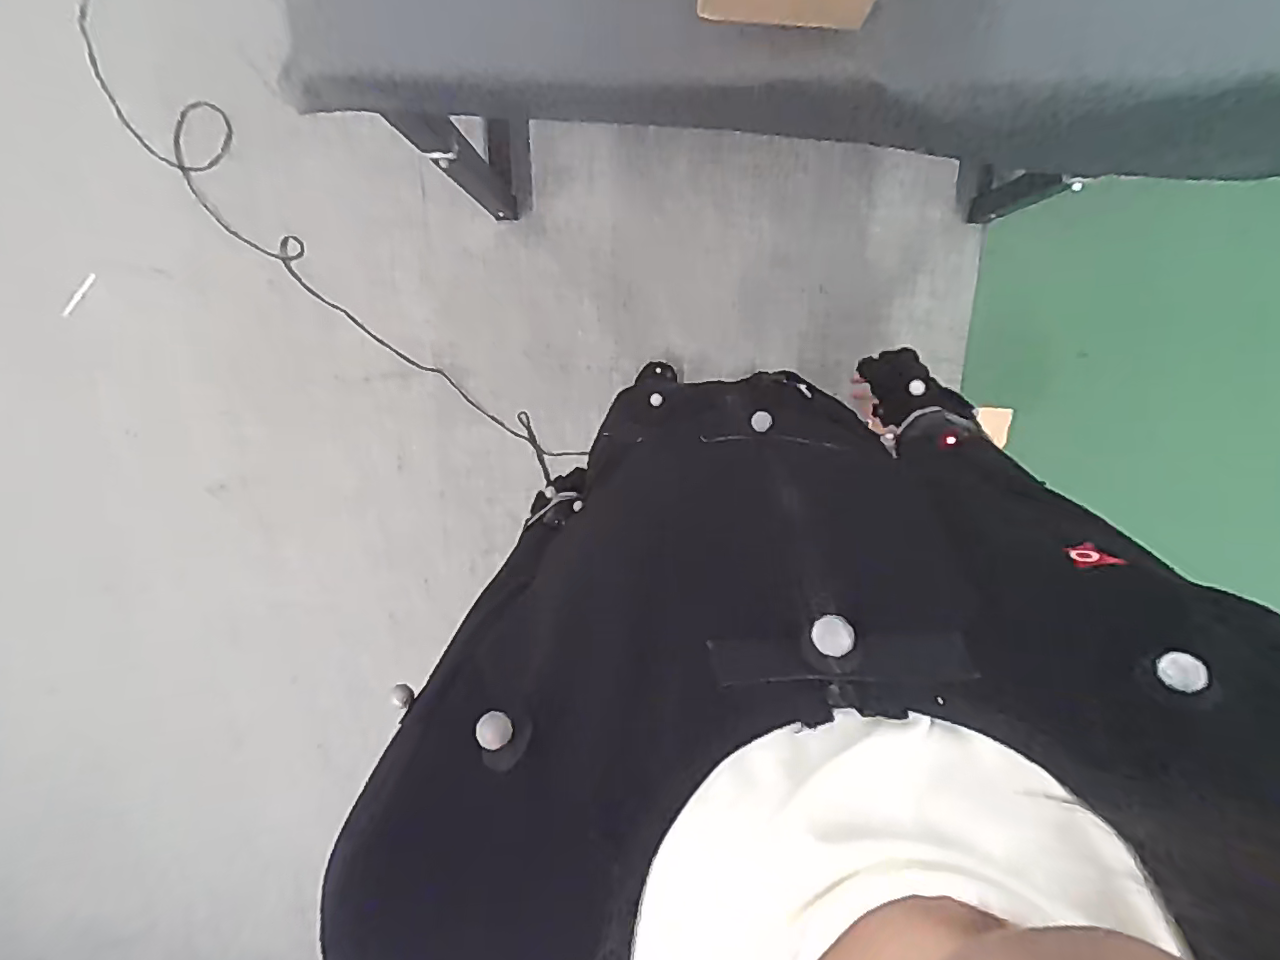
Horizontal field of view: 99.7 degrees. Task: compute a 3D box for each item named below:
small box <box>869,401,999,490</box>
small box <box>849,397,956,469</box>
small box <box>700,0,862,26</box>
[{"bbox_3d":[0.627,-0.081,1.173,0.179,0.176,0.168,3,101,0],"label":"small box"},{"bbox_3d":[0.639,-0.118,1.334,0.179,0.176,0.168,1,102,1],"label":"small box"},{"bbox_3d":[0.151,-0.554,0.486,0.179,0.176,0.168,4,102,-1],"label":"small box"}]
